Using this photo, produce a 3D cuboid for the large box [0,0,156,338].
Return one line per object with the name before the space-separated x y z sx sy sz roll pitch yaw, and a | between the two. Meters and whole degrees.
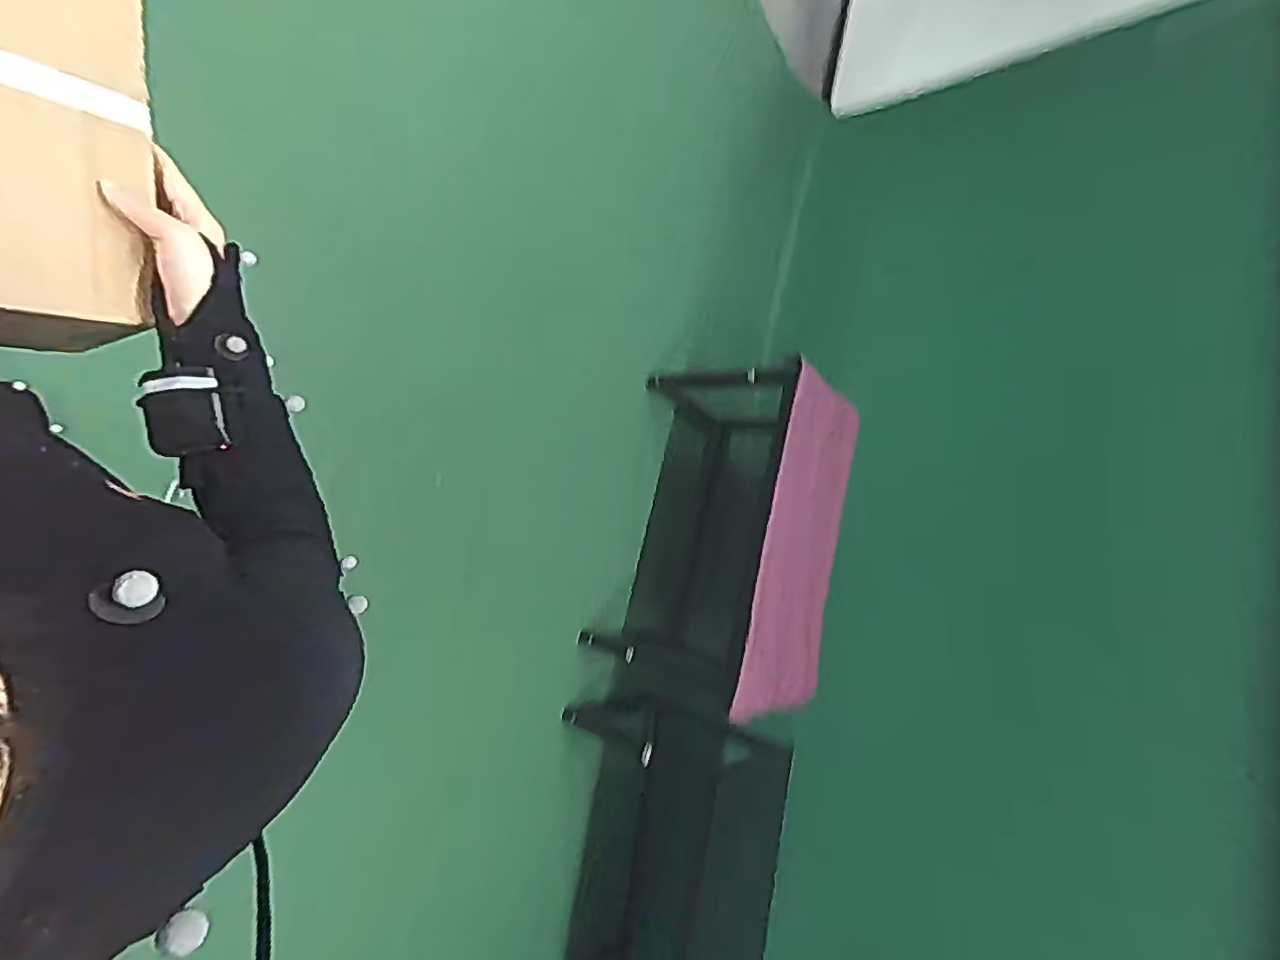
large box | -0.627 -0.278 0.342 0.408 0.320 0.320 -9 102 -55
